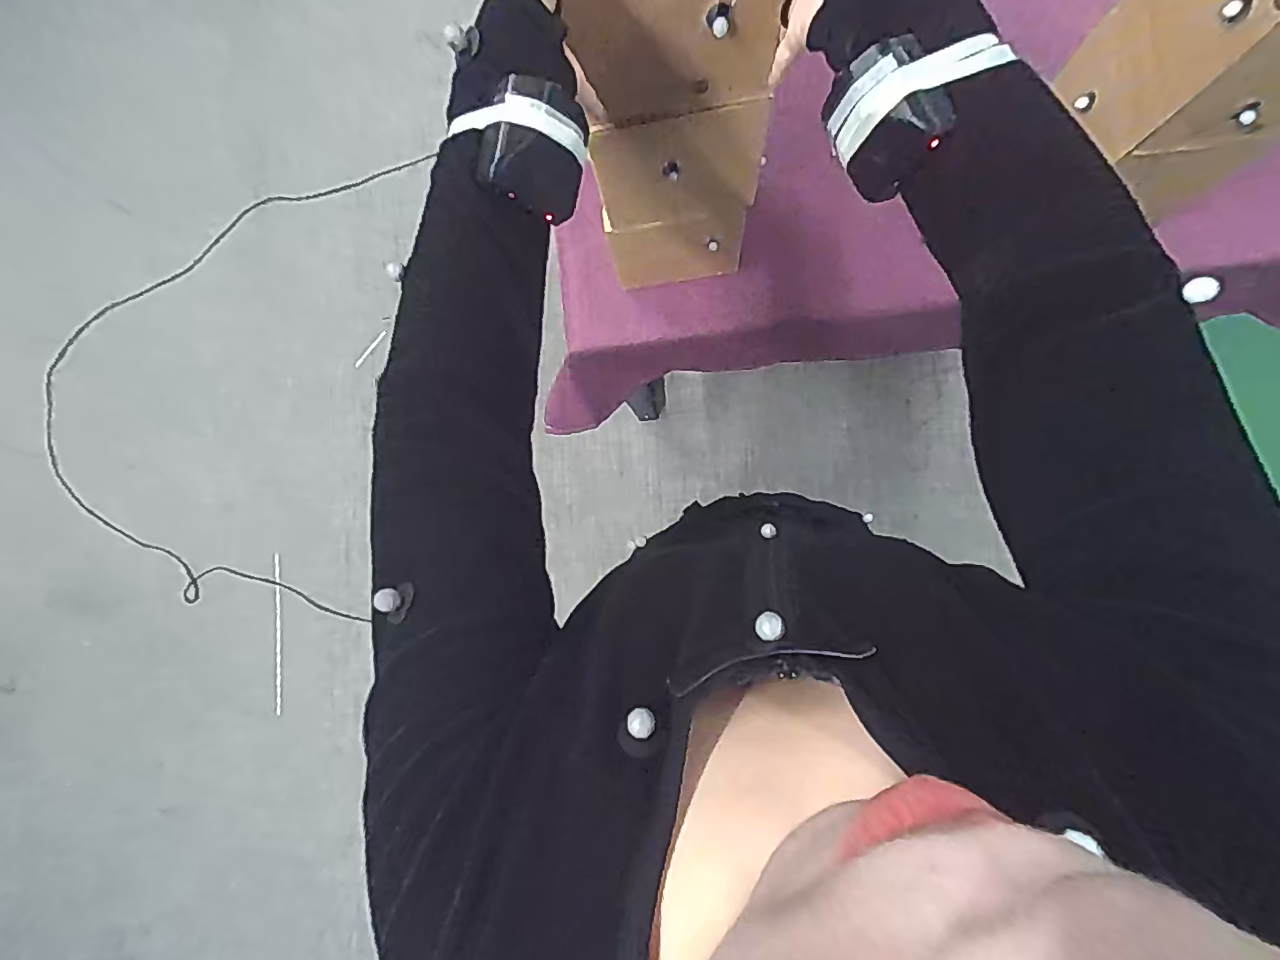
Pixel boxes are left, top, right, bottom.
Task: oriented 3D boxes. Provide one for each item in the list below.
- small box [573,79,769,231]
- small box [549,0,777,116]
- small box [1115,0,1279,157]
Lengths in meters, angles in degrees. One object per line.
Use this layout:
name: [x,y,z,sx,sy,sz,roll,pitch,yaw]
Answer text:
small box: [0.030,-0.395,0.576,0.179,0.176,0.168,-8,85,6]
small box: [0.017,-0.416,0.415,0.168,0.176,0.179,-4,85,5]
small box: [0.600,-0.448,0.512,0.168,0.176,0.179,-3,87,7]
